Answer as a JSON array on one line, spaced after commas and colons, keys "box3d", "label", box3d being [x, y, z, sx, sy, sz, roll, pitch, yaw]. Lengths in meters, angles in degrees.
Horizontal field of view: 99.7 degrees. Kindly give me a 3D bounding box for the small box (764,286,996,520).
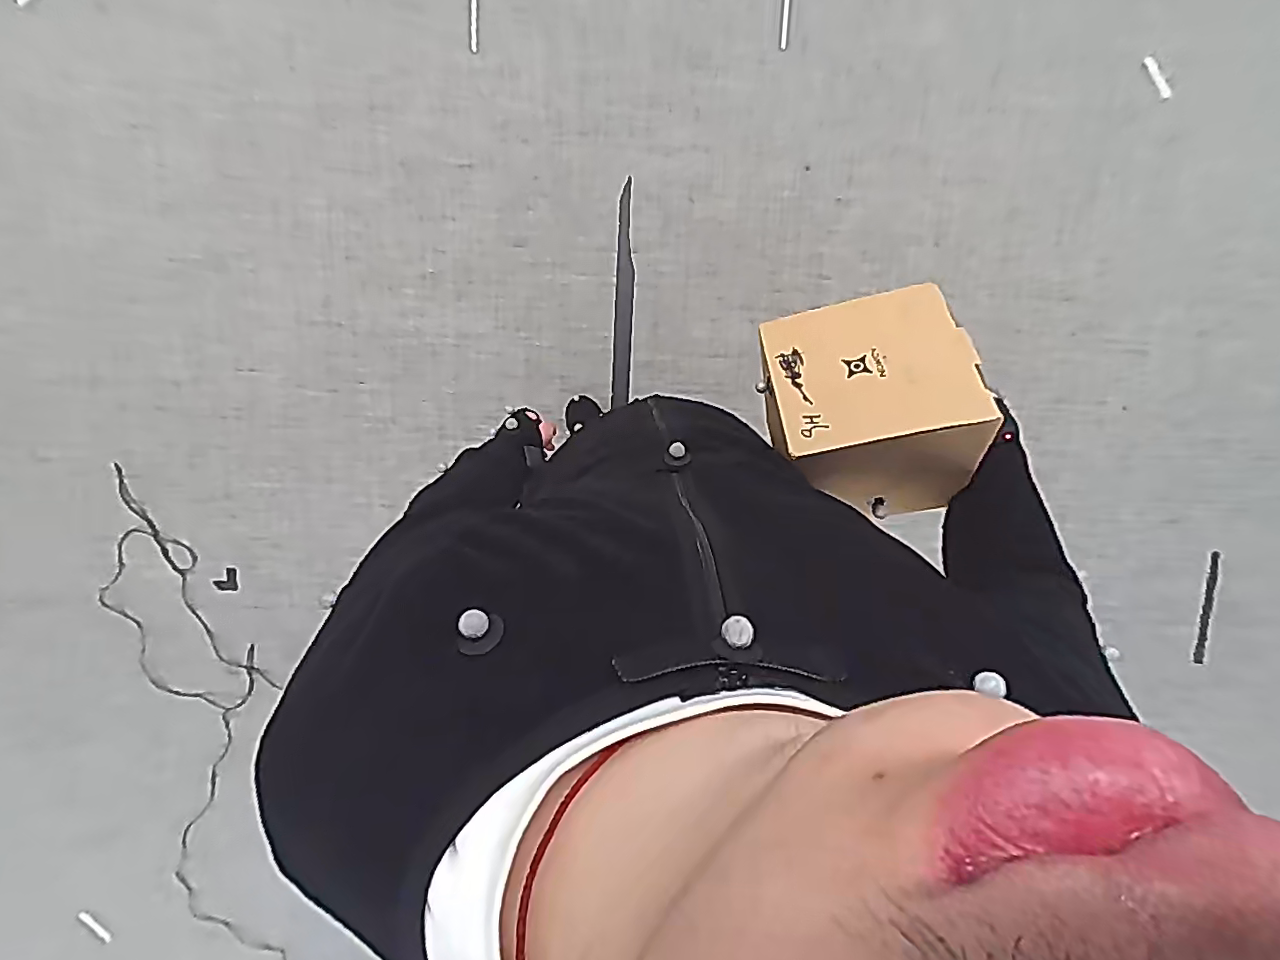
[{"box3d": [0.236, -0.072, 0.583, 0.179, 0.176, 0.168, -10, 59, 11], "label": "small box"}]
